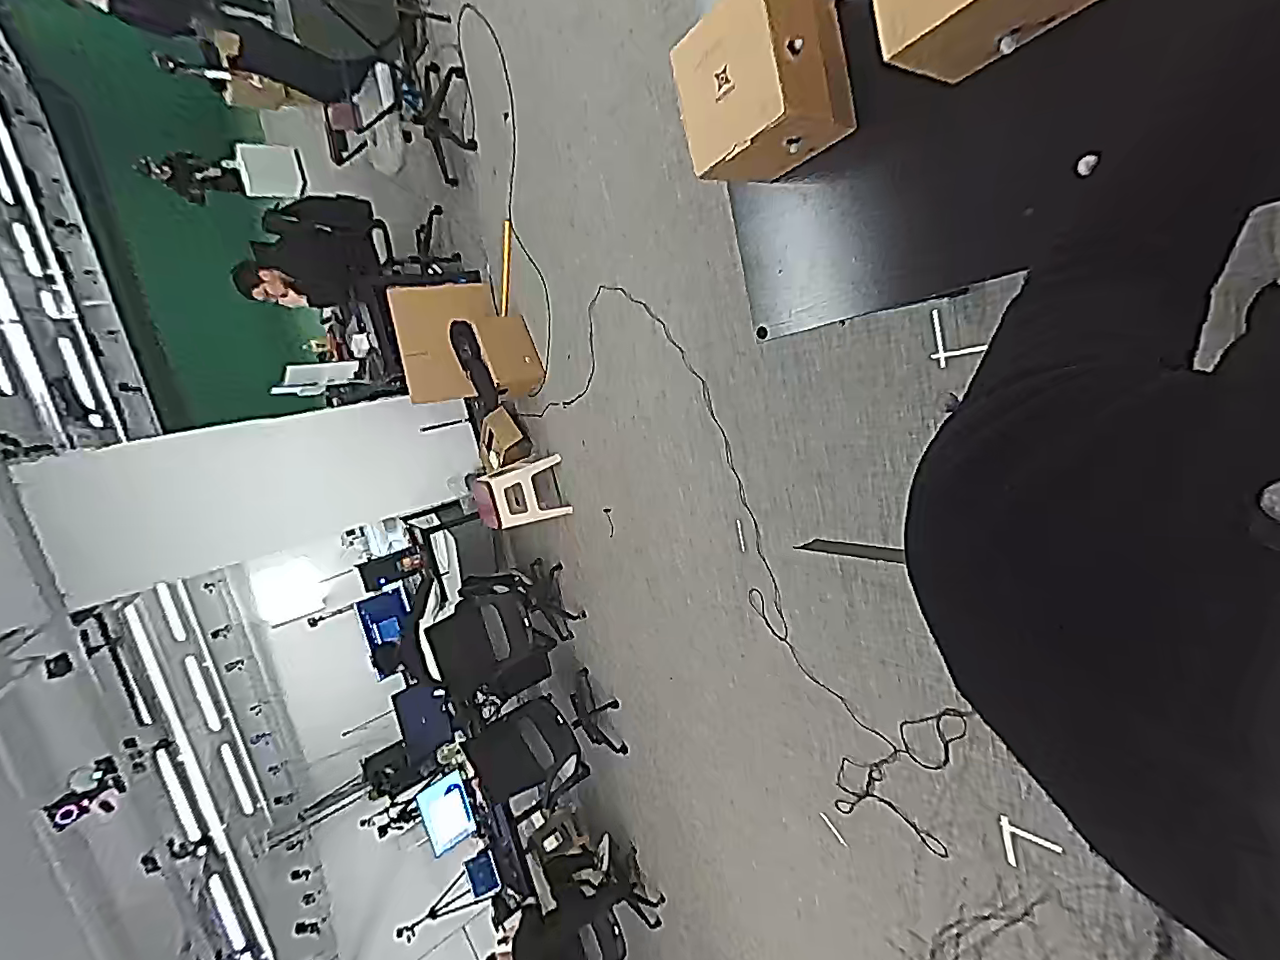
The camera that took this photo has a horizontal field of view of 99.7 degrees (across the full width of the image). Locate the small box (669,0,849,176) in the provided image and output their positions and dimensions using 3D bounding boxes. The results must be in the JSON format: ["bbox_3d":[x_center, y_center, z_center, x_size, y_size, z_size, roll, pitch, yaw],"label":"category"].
[{"bbox_3d":[0.171,-0.555,0.763,0.168,0.176,0.179,-4,102,53],"label":"small box"}]

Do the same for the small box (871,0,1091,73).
[{"bbox_3d":[0.341,-0.546,0.531,0.168,0.176,0.179,-1,106,54],"label":"small box"}]
